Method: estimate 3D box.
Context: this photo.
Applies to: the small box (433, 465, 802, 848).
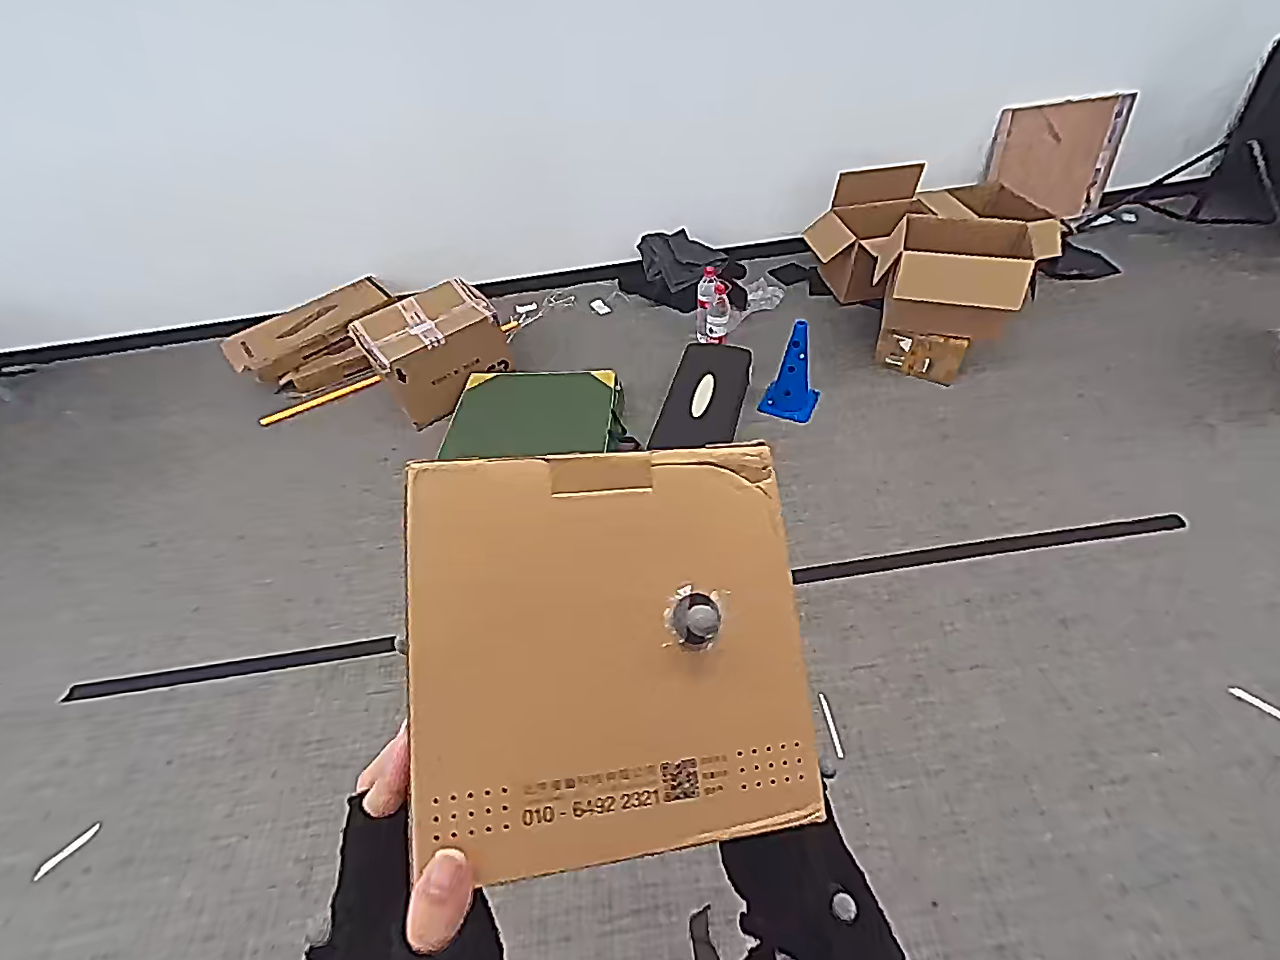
[{"bbox_3d":[-0.020,0.095,0.327,0.168,0.179,0.176,-3,79,-10],"label":"small box"}]
